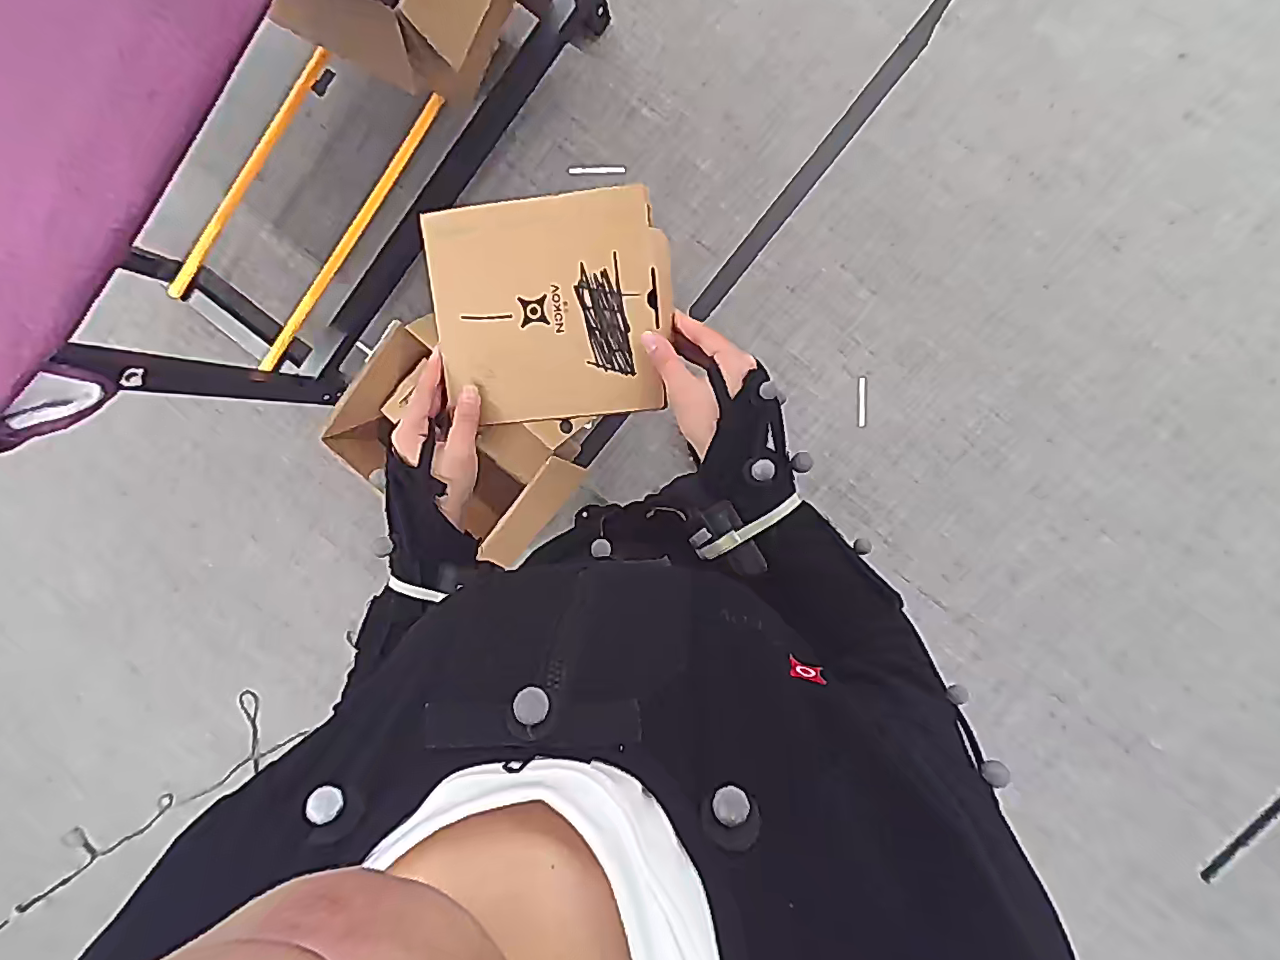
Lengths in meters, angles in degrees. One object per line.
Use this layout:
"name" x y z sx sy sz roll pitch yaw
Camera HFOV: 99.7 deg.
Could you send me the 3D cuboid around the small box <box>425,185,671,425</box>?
"small box" -0.064 -0.143 0.492 0.179 0.176 0.168 -5 99 5
